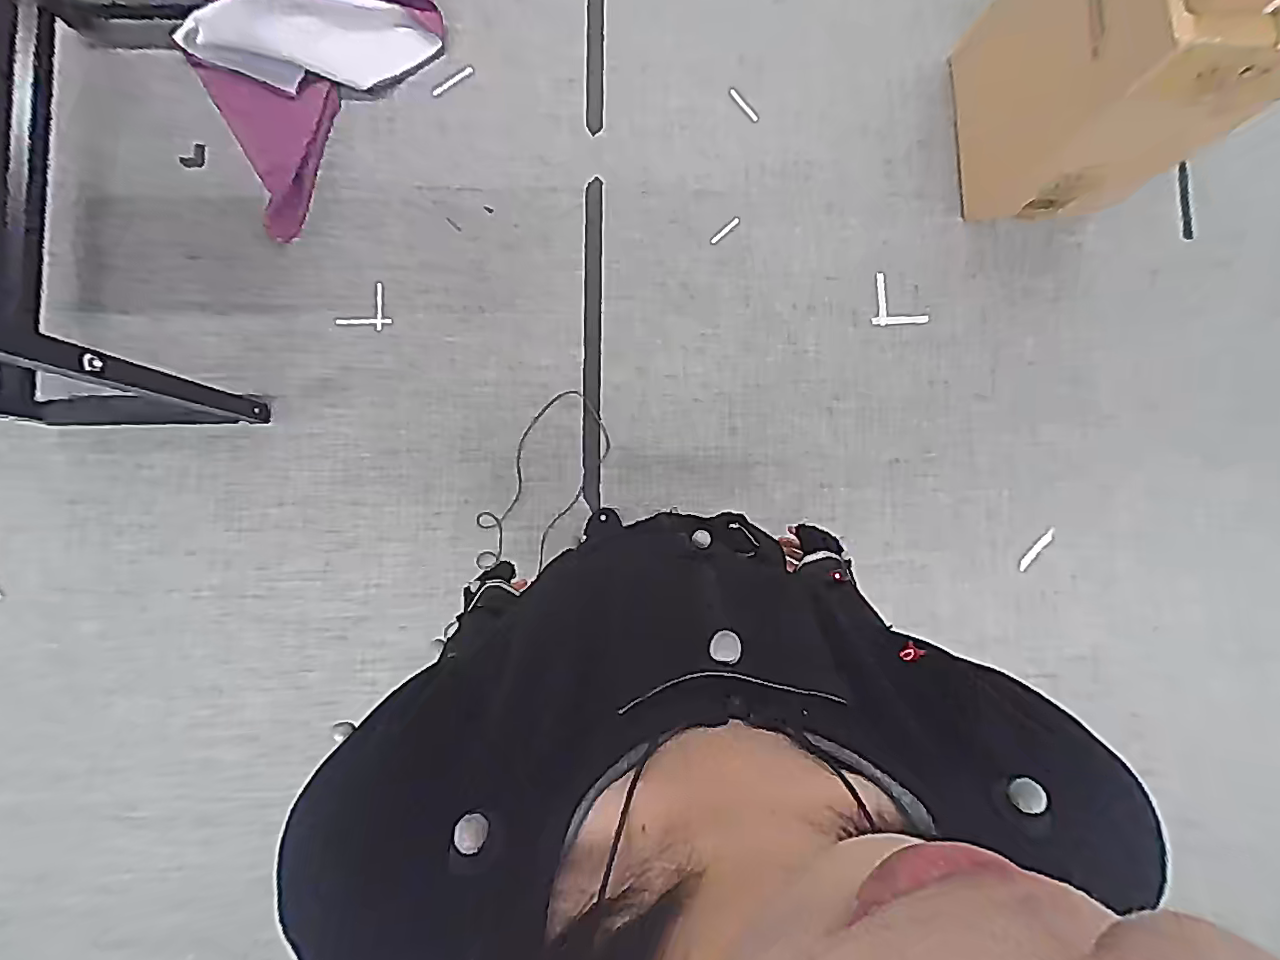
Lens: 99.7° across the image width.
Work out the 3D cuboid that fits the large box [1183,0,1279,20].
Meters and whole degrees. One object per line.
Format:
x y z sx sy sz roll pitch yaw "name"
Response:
1.186 -1.100 0.908 0.320 0.320 0.408 -3 87 -3 "large box"
